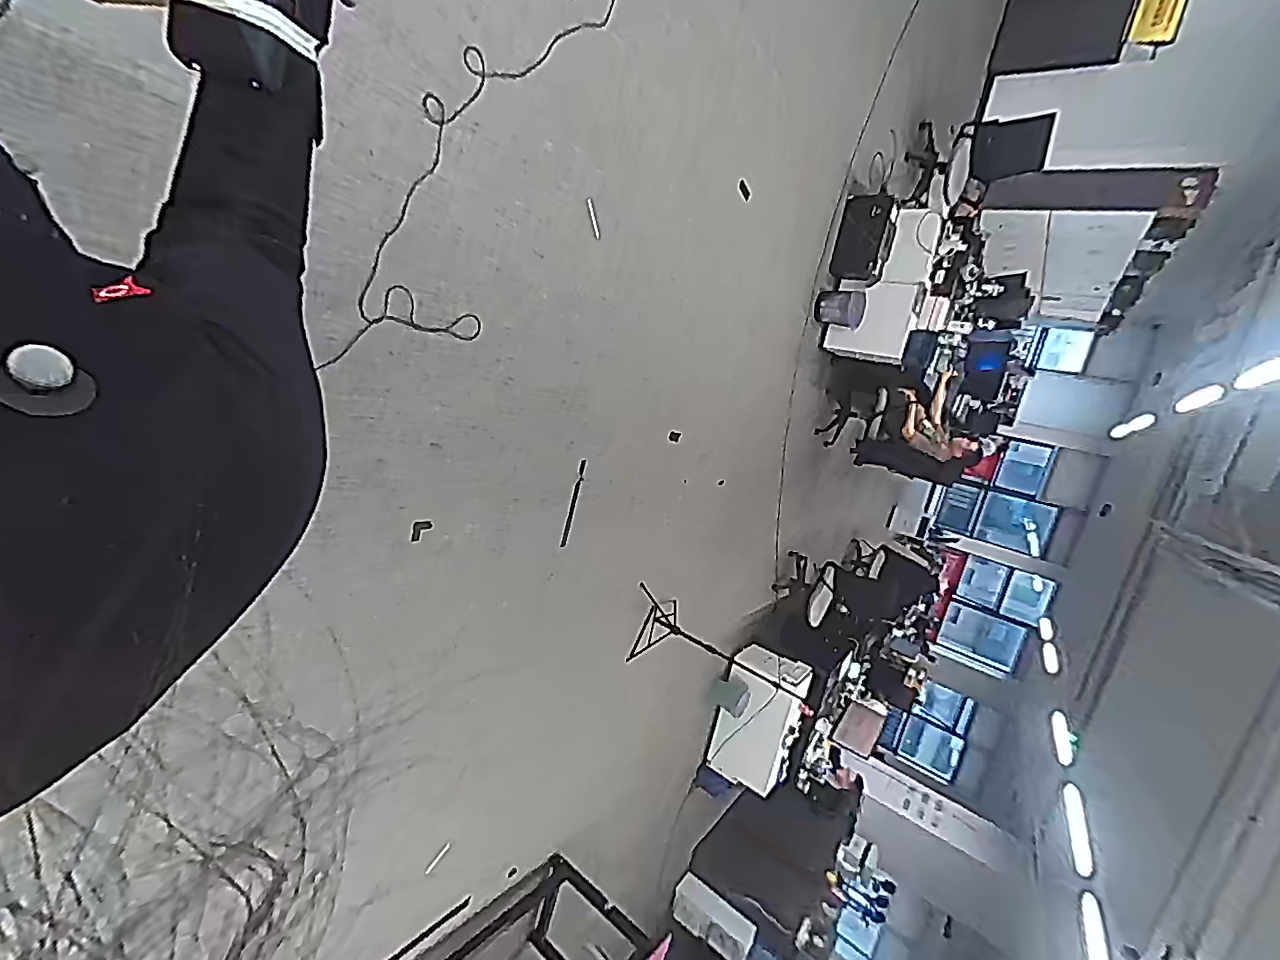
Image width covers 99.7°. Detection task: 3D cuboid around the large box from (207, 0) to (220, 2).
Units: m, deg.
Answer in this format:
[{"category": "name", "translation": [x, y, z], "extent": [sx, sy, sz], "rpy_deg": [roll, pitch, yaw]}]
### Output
[{"category": "large box", "translation": [-0.448, -0.519, 0.232], "extent": [0.408, 0.320, 0.320], "rpy_deg": [-2, 119, -58]}]
